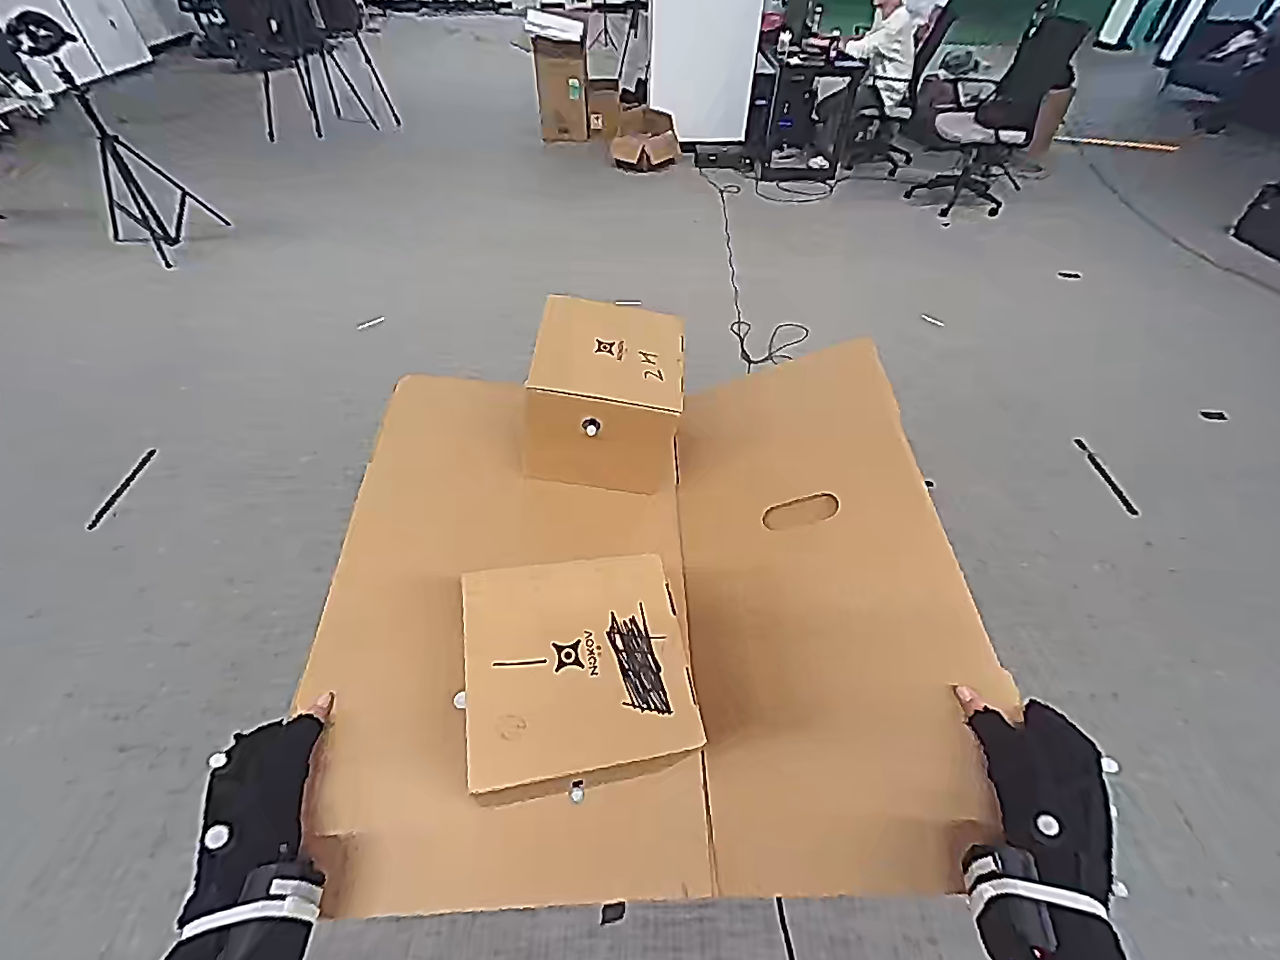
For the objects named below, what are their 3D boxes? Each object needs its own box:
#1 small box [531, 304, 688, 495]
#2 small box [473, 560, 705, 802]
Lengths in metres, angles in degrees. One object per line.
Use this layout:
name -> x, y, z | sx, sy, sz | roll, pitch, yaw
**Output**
small box -> -0.043, -0.098, 0.709 | 0.179, 0.176, 0.168 | 10, 54, -7
small box -> -0.060, 0.189, 0.505 | 0.179, 0.176, 0.168 | -3, 57, -14
